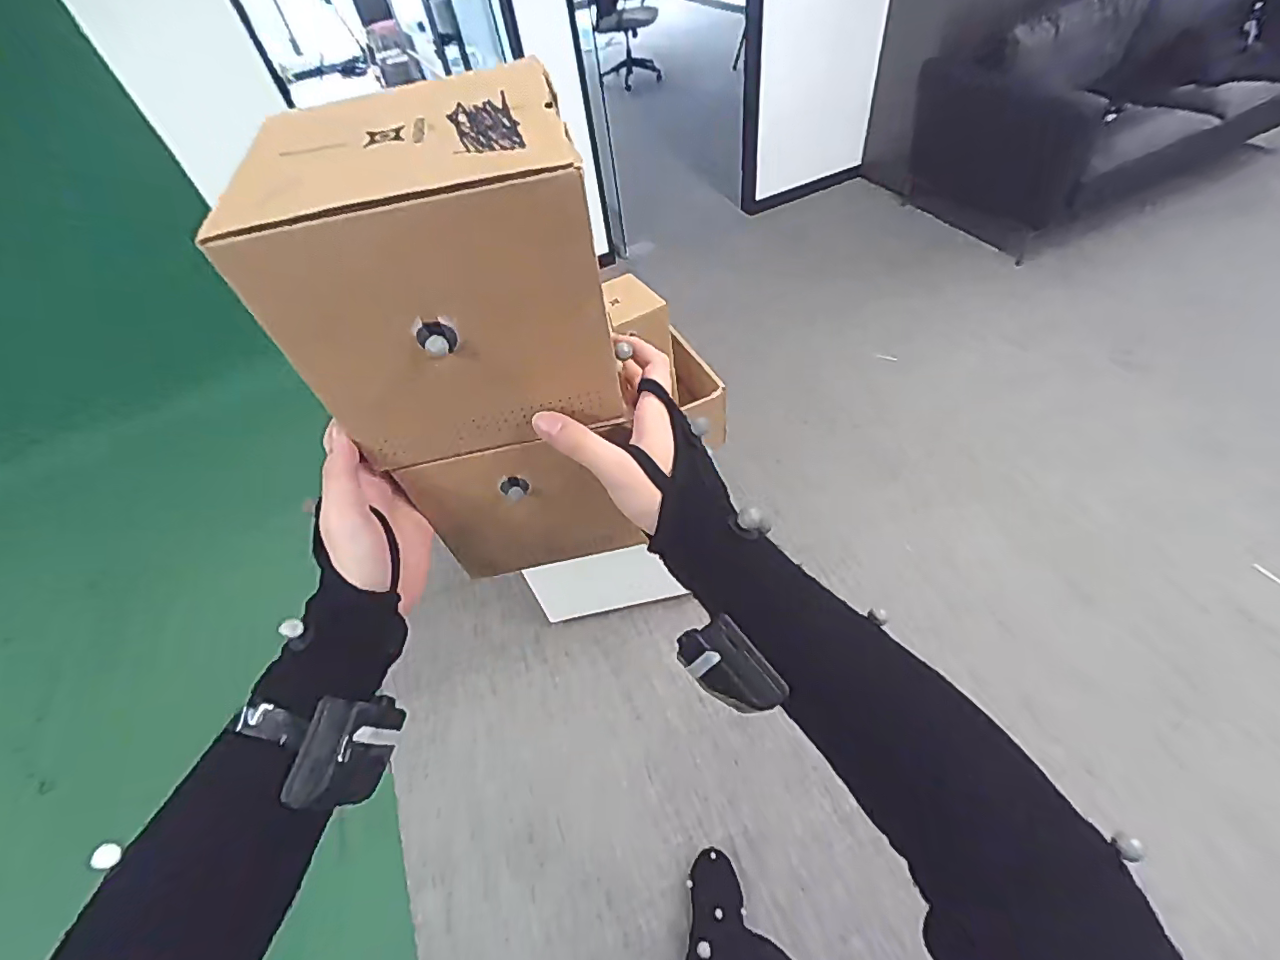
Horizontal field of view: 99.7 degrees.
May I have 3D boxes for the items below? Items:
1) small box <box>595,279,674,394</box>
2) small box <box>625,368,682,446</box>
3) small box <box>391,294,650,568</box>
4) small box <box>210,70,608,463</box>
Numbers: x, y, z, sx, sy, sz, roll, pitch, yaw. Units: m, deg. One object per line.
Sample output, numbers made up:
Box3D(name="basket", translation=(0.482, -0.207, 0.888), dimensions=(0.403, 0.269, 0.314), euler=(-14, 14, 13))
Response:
Box3D(name="small box", translation=(-0.040, -0.312, 1.203), dimensions=(0.179, 0.176, 0.168), euler=(-27, 50, -12))
Box3D(name="small box", translation=(-0.012, -0.205, 1.324), dimensions=(0.179, 0.176, 0.168), euler=(-27, 50, -10))
Box3D(name="small box", translation=(-0.095, -0.038, 0.494), dimensions=(0.179, 0.176, 0.168), euler=(-11, 52, -1))
Box3D(name="small box", translation=(-0.123, -0.137, 0.365), dimensions=(0.179, 0.176, 0.168), euler=(-14, 52, -2))
